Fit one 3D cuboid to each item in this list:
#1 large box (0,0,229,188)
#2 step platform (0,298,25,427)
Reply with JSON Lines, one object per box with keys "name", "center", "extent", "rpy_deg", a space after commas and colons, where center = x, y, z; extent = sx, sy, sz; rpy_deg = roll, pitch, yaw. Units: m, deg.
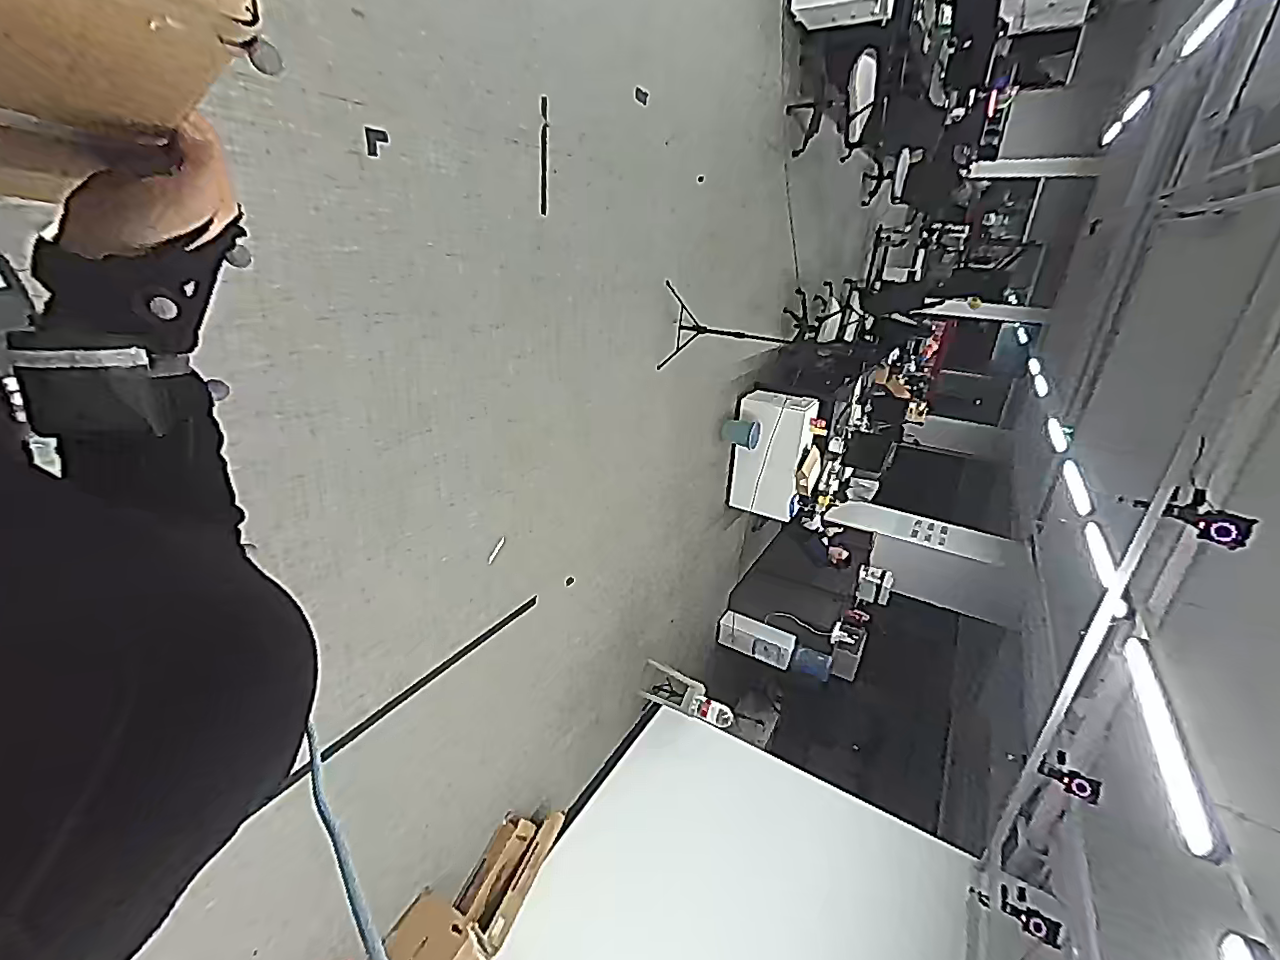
{"name": "large box", "center": [-0.413, -0.317, 0.130], "extent": [0.408, 0.320, 0.320], "rpy_deg": [-17, 108, -51]}
{"name": "step platform", "center": [-1.331, -0.177, 0.715], "extent": [0.684, 0.204, 0.286], "rpy_deg": [-23, 124, -55]}
